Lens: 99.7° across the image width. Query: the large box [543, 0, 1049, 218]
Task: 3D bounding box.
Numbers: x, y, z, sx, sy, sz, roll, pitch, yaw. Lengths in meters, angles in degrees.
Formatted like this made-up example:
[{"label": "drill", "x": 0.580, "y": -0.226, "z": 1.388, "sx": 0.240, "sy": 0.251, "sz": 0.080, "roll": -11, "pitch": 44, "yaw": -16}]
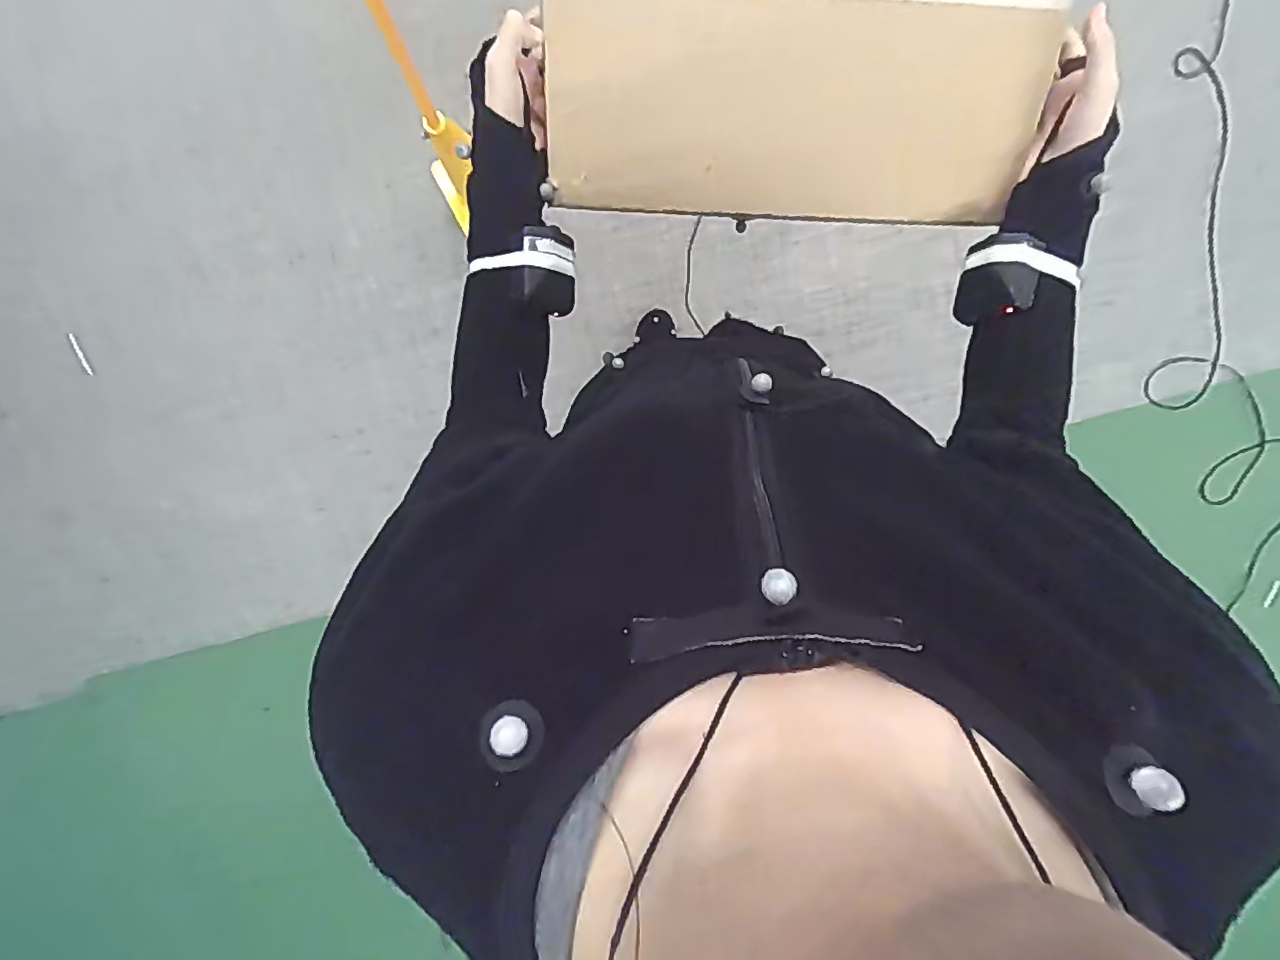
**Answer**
[{"label": "large box", "x": 0.122, "y": -0.446, "z": 0.548, "sx": 0.408, "sy": 0.320, "sz": 0.320, "roll": 1, "pitch": 116, "yaw": -2}]
